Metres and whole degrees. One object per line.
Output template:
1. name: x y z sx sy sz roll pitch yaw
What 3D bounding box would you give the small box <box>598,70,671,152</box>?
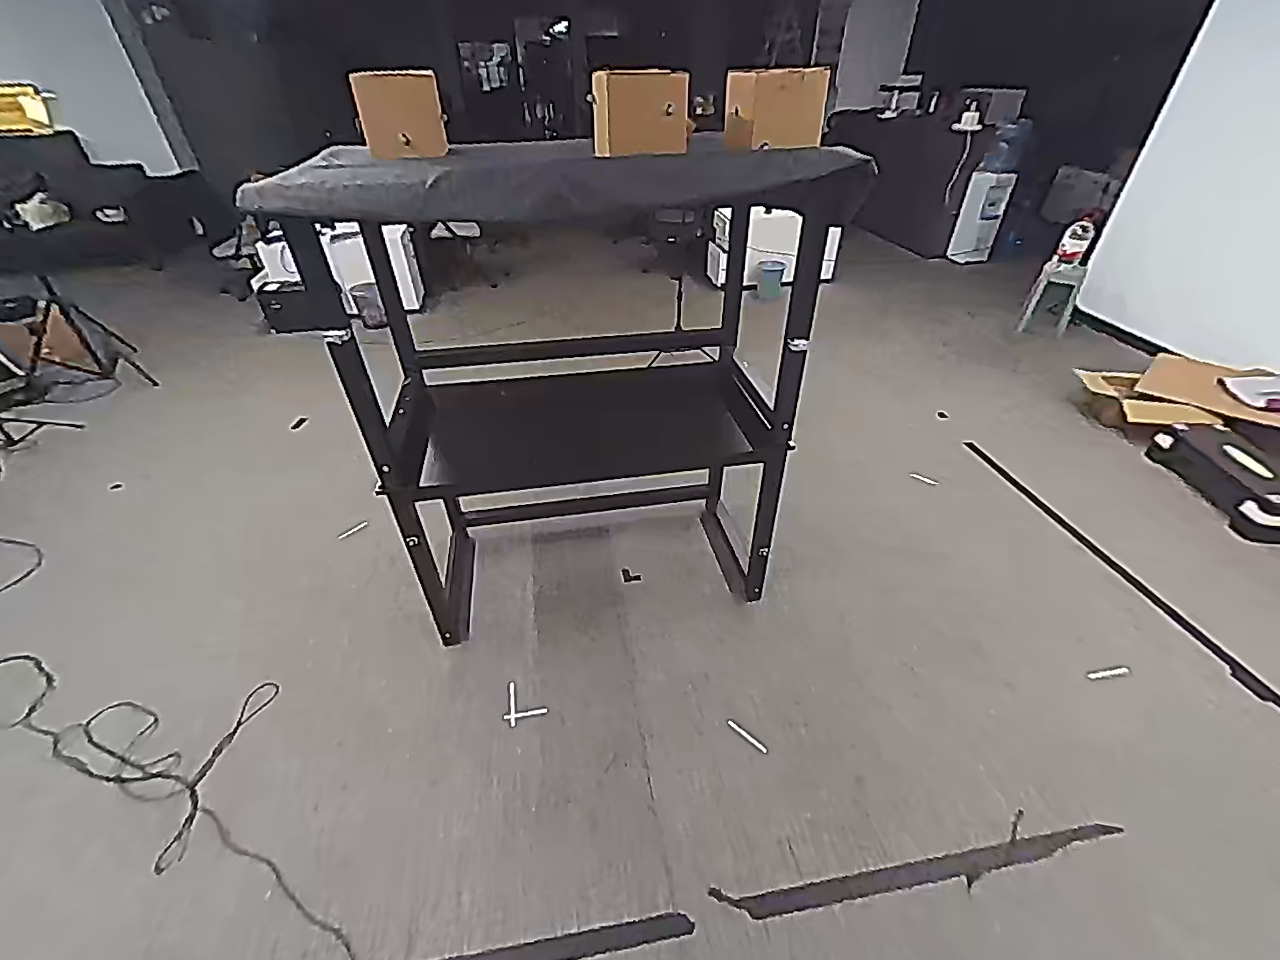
1. small box: -0.015 -0.969 1.424 0.168 0.176 0.179 -7 39 -8

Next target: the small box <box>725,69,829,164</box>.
1. small box: 0.301 -0.821 1.225 0.168 0.176 0.179 -9 37 -10

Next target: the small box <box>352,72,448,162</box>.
1. small box: -0.580 -0.896 1.335 0.179 0.176 0.168 -7 39 -10
